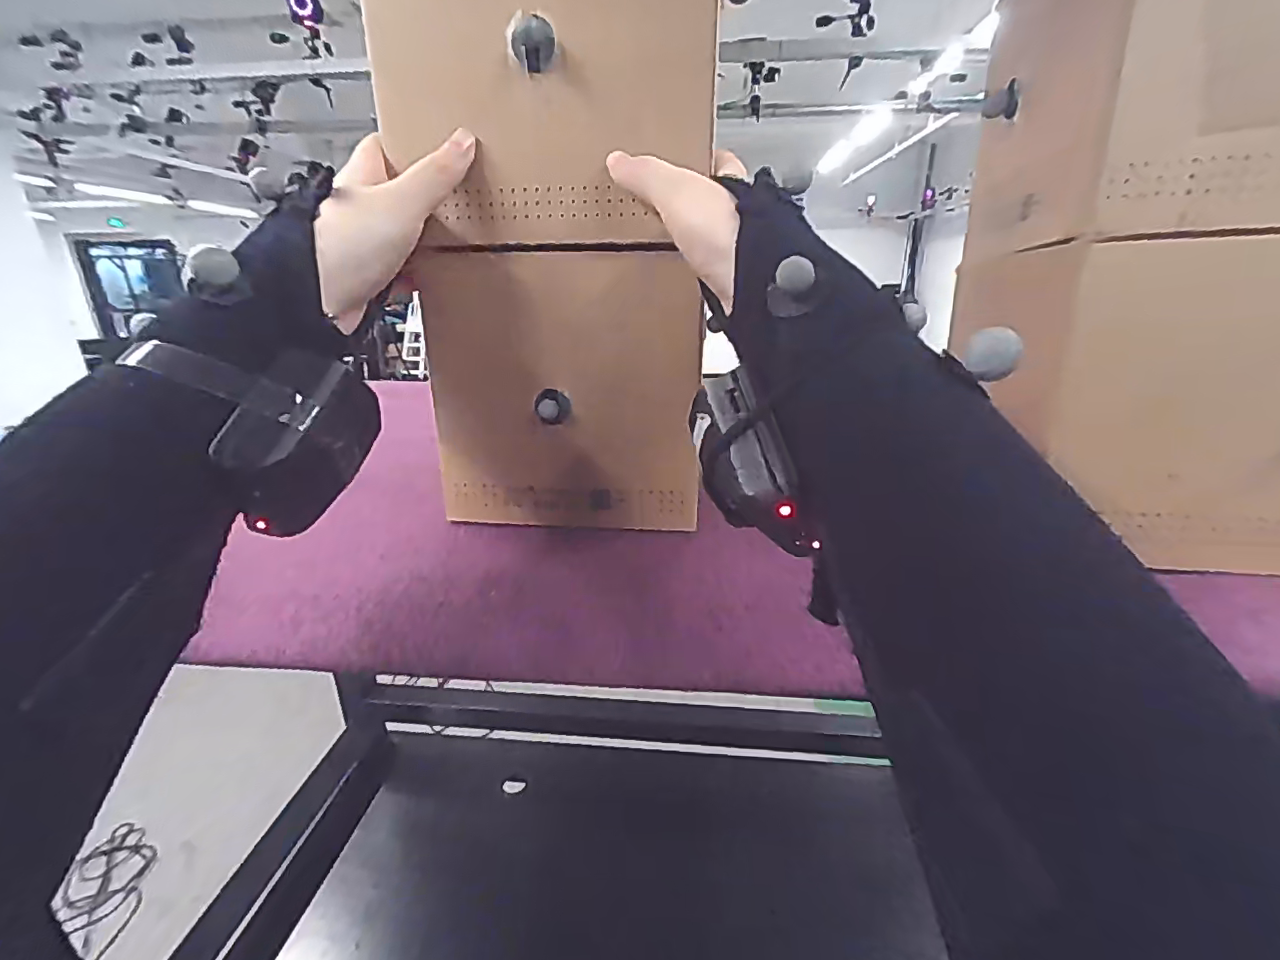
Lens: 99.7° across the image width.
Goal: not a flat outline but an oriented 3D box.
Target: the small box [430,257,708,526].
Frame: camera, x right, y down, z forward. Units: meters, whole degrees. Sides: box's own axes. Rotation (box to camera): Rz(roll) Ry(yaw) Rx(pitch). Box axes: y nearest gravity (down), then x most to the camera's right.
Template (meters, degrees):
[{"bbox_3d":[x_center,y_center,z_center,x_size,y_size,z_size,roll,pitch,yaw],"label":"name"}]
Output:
[{"bbox_3d":[-0.033,-0.073,0.410,0.168,0.176,0.179,2,19,5],"label":"small box"}]

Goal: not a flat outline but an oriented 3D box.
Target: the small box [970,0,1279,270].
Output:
[{"bbox_3d":[0.306,-0.206,0.300,0.179,0.176,0.168,4,17,13],"label":"small box"}]
